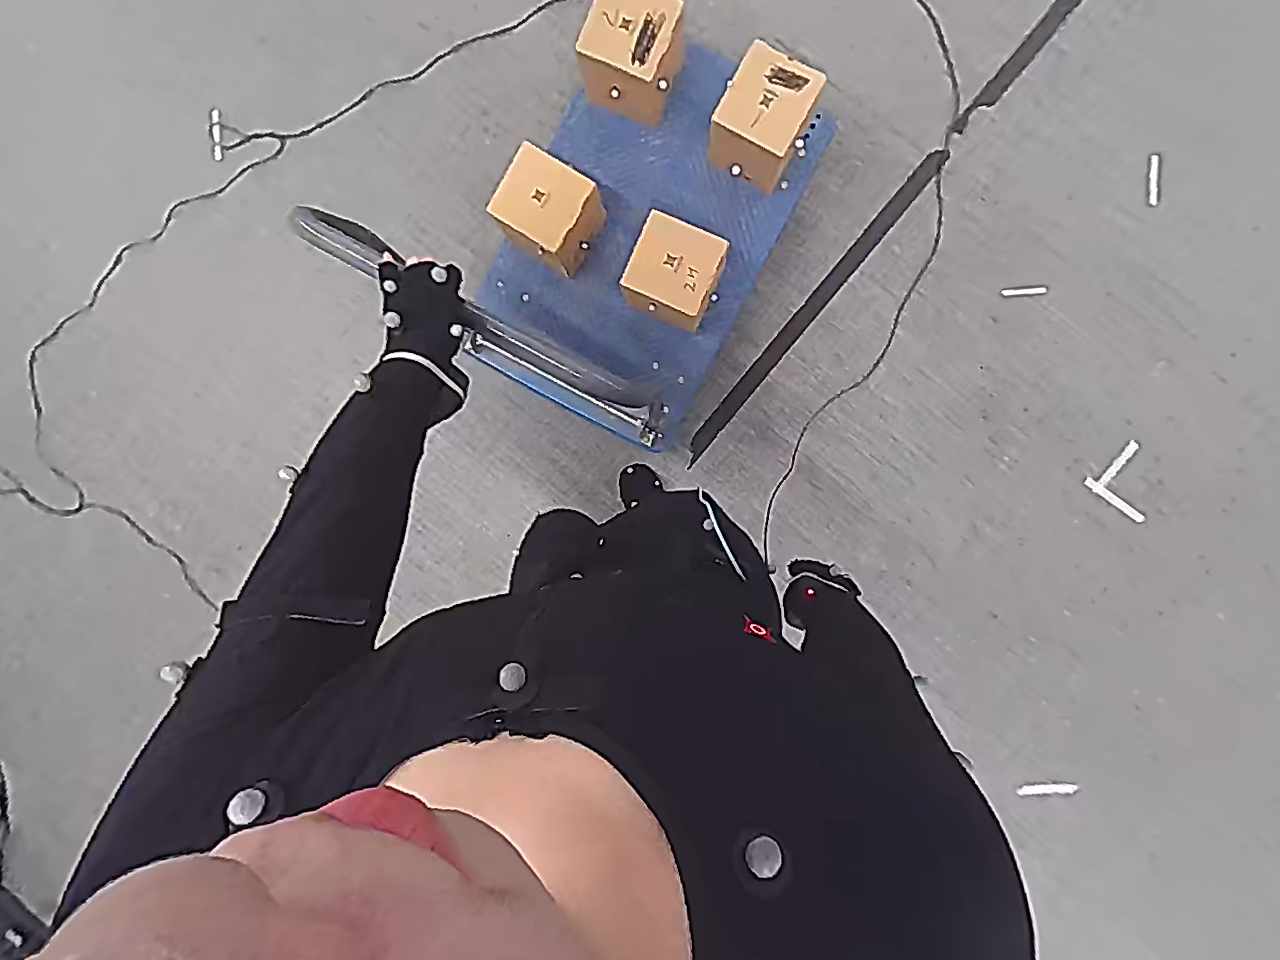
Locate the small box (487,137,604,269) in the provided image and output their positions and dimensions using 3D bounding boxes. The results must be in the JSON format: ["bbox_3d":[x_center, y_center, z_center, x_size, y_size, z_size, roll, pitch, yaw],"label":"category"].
[{"bbox_3d":[-0.199,-0.596,1.192,0.179,0.176,0.168,31,95,0],"label":"small box"}]

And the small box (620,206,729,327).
[{"bbox_3d":[0.075,-0.454,1.180,0.179,0.176,0.168,25,95,2],"label":"small box"}]

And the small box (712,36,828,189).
[{"bbox_3d":[0.263,-0.766,1.146,0.168,0.176,0.179,30,96,2],"label":"small box"}]
